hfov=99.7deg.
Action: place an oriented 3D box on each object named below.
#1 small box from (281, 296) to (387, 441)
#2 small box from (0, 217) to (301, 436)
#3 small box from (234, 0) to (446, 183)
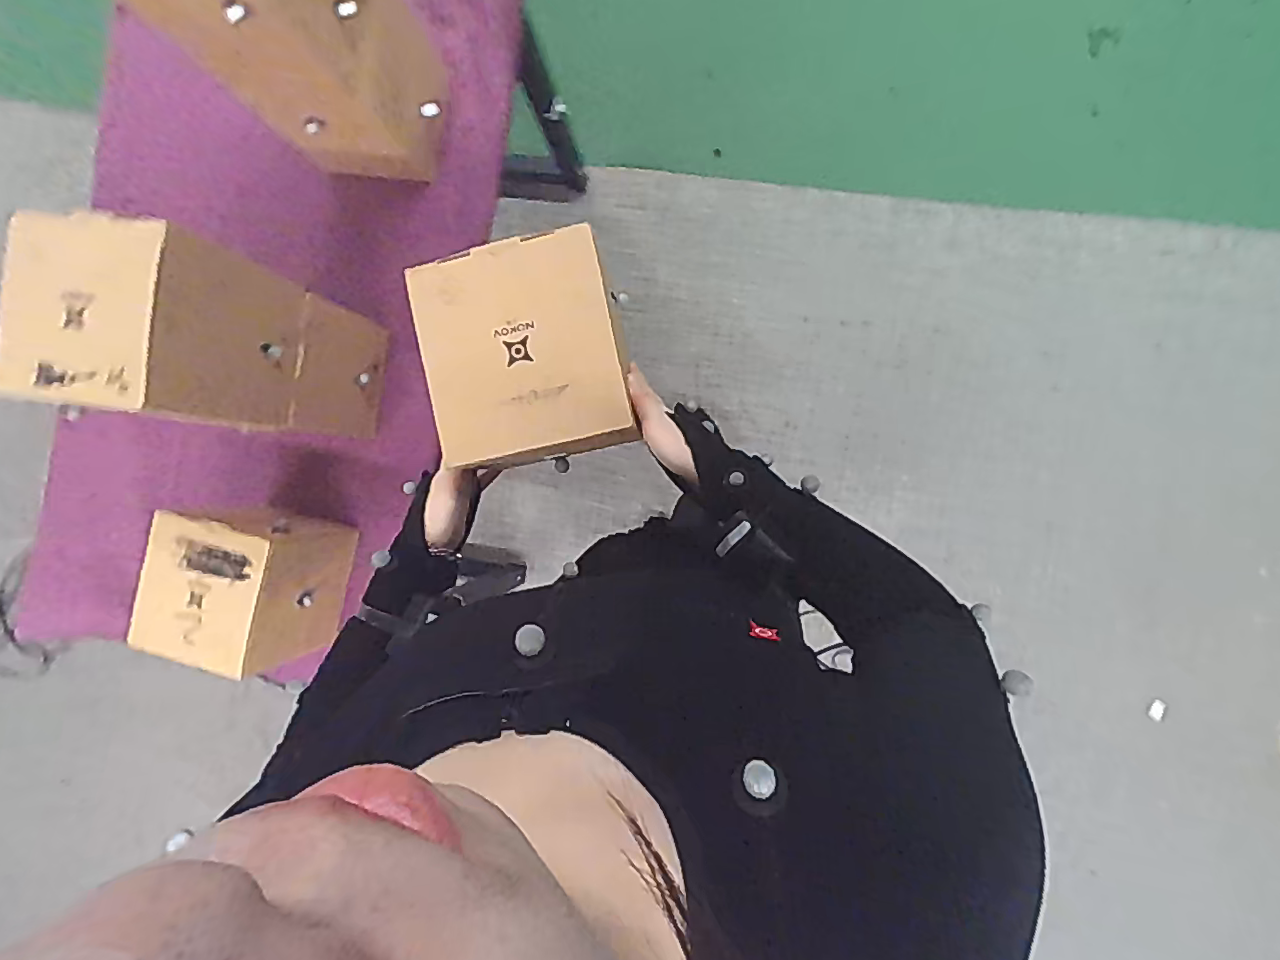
[{"bbox_3d":[-0.482,-0.147,0.738,0.179,0.176,0.168,7,90,7],"label":"small box"},{"bbox_3d":[-0.499,-0.150,0.574,0.168,0.176,0.179,6,89,9],"label":"small box"},{"bbox_3d":[-0.395,-0.533,0.737,0.179,0.176,0.168,9,90,6],"label":"small box"}]
